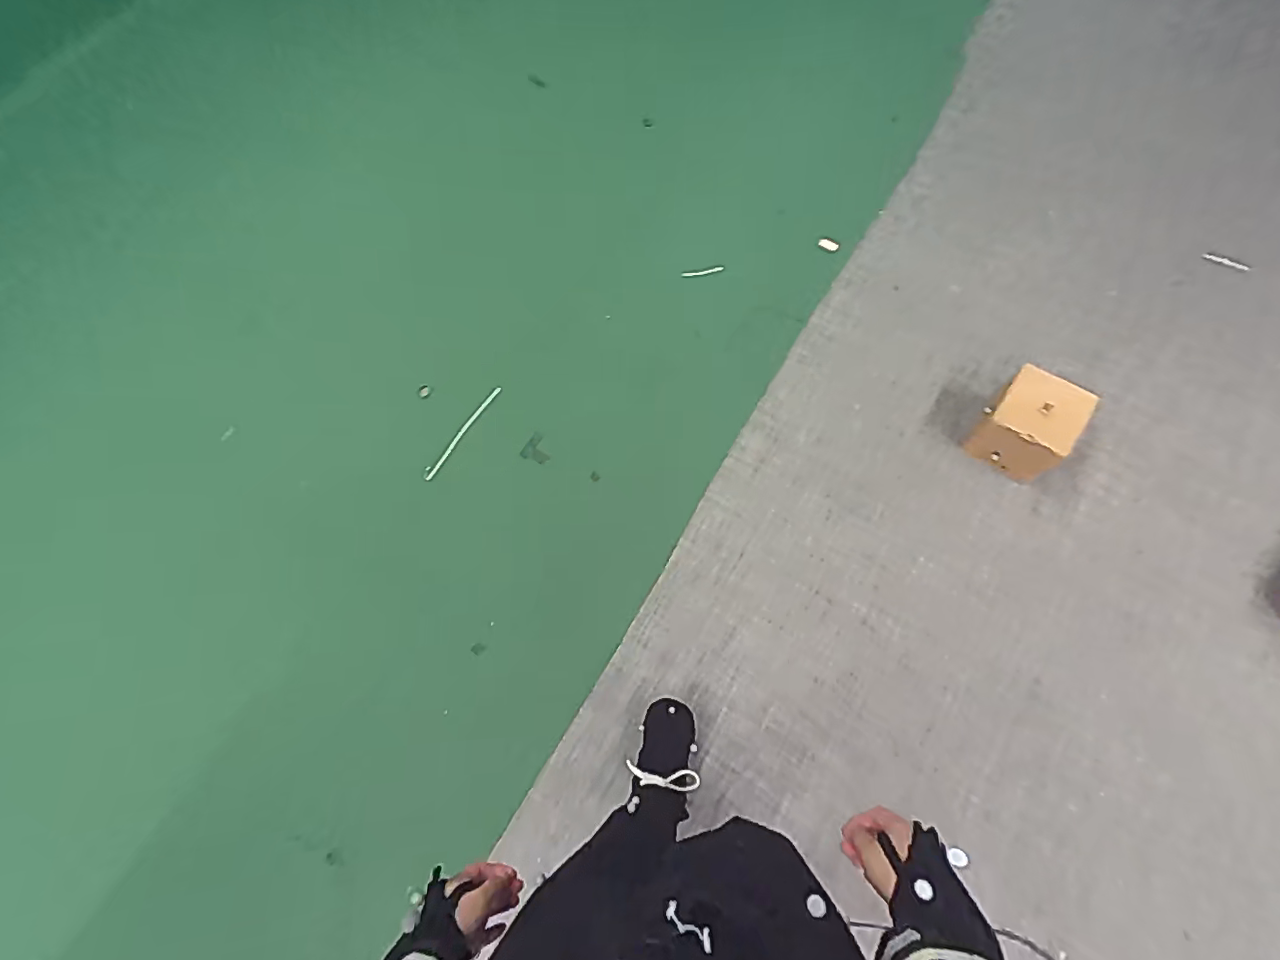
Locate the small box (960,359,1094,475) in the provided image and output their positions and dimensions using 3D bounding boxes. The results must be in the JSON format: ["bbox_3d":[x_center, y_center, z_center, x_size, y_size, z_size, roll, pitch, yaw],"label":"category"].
[{"bbox_3d":[0.889,-0.141,1.261,0.168,0.176,0.179,33,77,15],"label":"small box"}]
